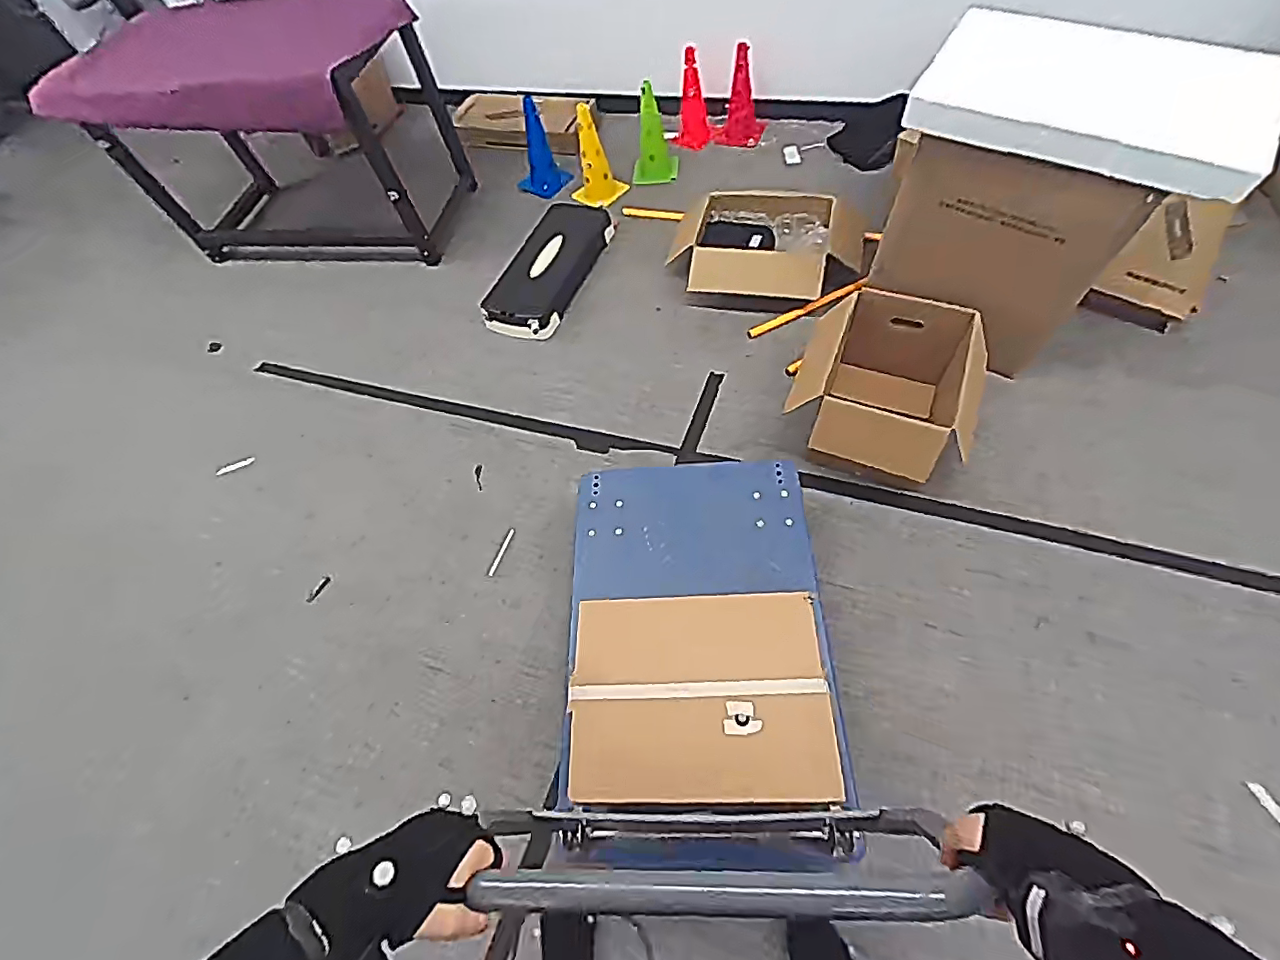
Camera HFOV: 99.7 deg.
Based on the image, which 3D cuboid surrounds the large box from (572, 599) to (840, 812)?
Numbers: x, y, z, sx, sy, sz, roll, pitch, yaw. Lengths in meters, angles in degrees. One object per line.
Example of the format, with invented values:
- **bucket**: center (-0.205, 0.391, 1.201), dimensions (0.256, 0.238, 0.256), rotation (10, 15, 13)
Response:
- **large box**: center (0.106, 0.426, 0.995), dimensions (0.408, 0.320, 0.320), rotation (-3, 58, 5)
